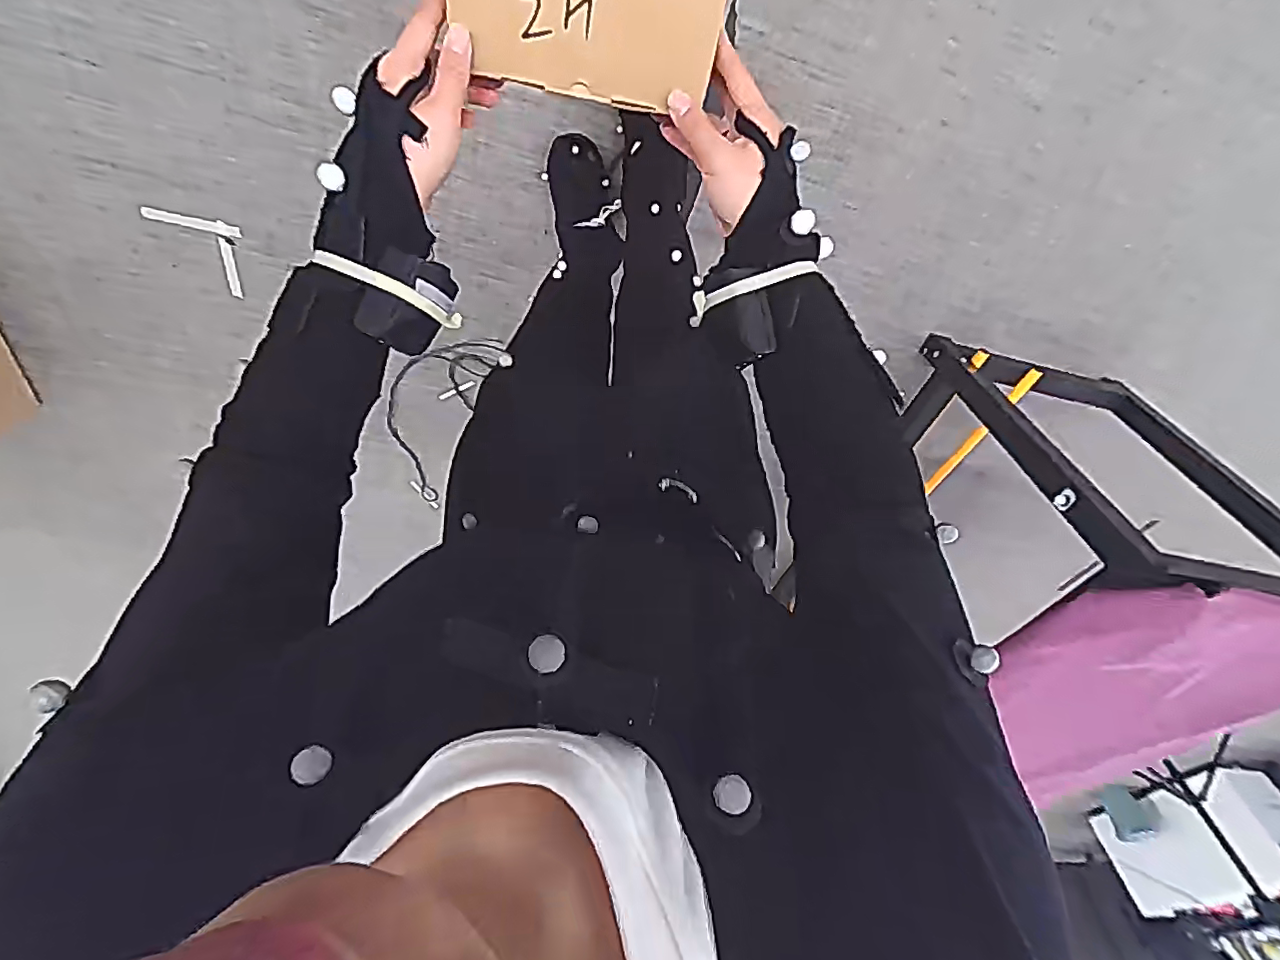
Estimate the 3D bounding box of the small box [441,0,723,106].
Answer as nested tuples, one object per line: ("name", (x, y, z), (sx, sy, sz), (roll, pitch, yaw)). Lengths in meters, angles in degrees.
("small box", (-0.027, -0.373, 0.339), (0.168, 0.176, 0.179), (7, 136, -9))
